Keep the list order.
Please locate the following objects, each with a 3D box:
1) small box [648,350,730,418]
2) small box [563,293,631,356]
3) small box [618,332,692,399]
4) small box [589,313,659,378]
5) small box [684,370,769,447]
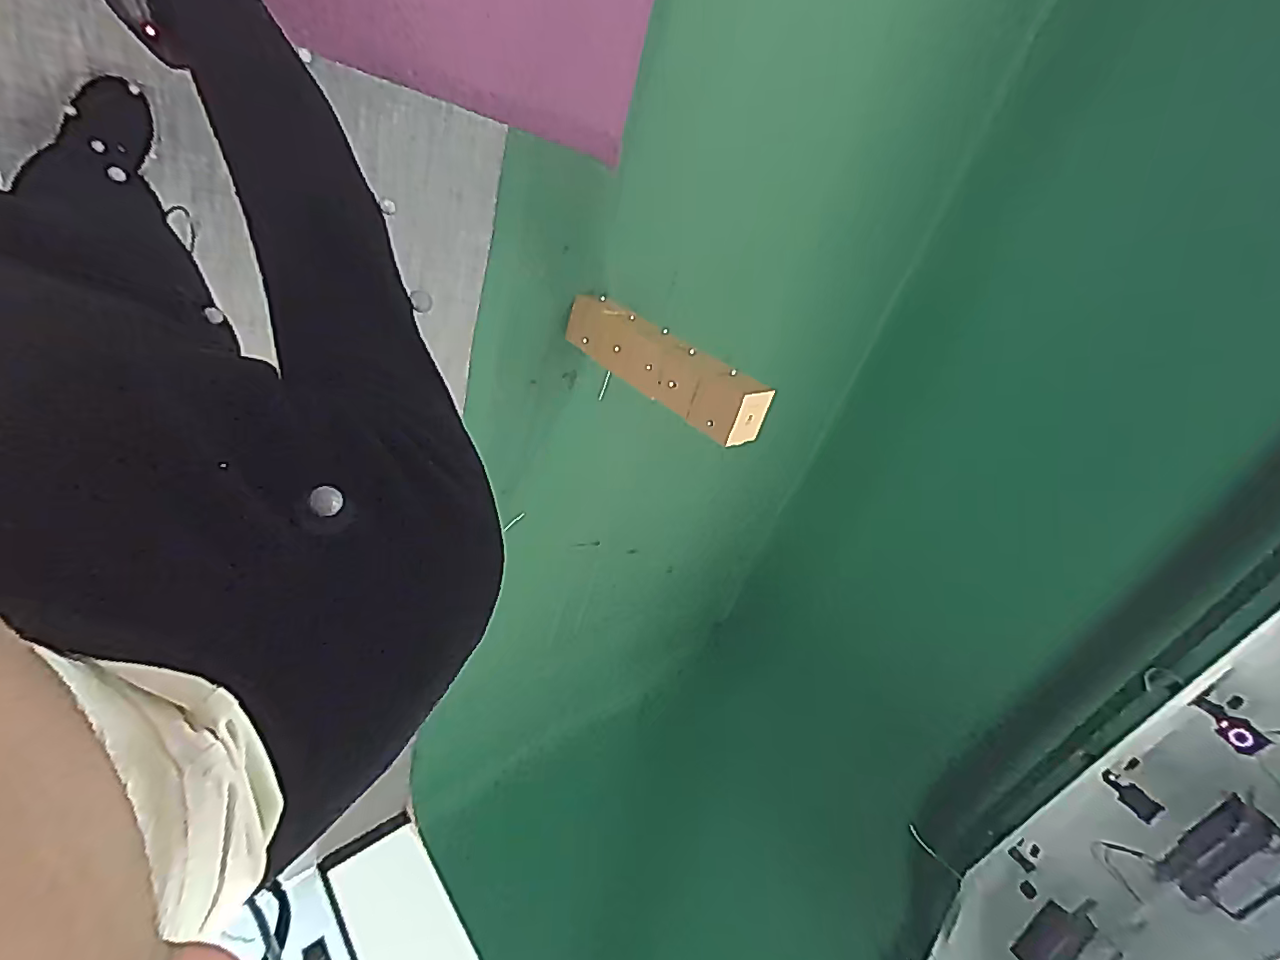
[{"bbox_3d":[0.154,-0.317,1.765,0.179,0.176,0.168,-13,132,-42],"label":"small box"},{"bbox_3d":[-0.168,-0.577,2.025,0.168,0.176,0.179,-11,131,-45],"label":"small box"},{"bbox_3d":[0.045,-0.398,1.856,0.168,0.176,0.179,-15,134,-42],"label":"small box"},{"bbox_3d":[-0.063,-0.484,1.944,0.168,0.176,0.179,-14,132,-43],"label":"small box"},{"bbox_3d":[0.262,-0.226,1.681,0.168,0.176,0.179,-14,132,-44],"label":"small box"}]
